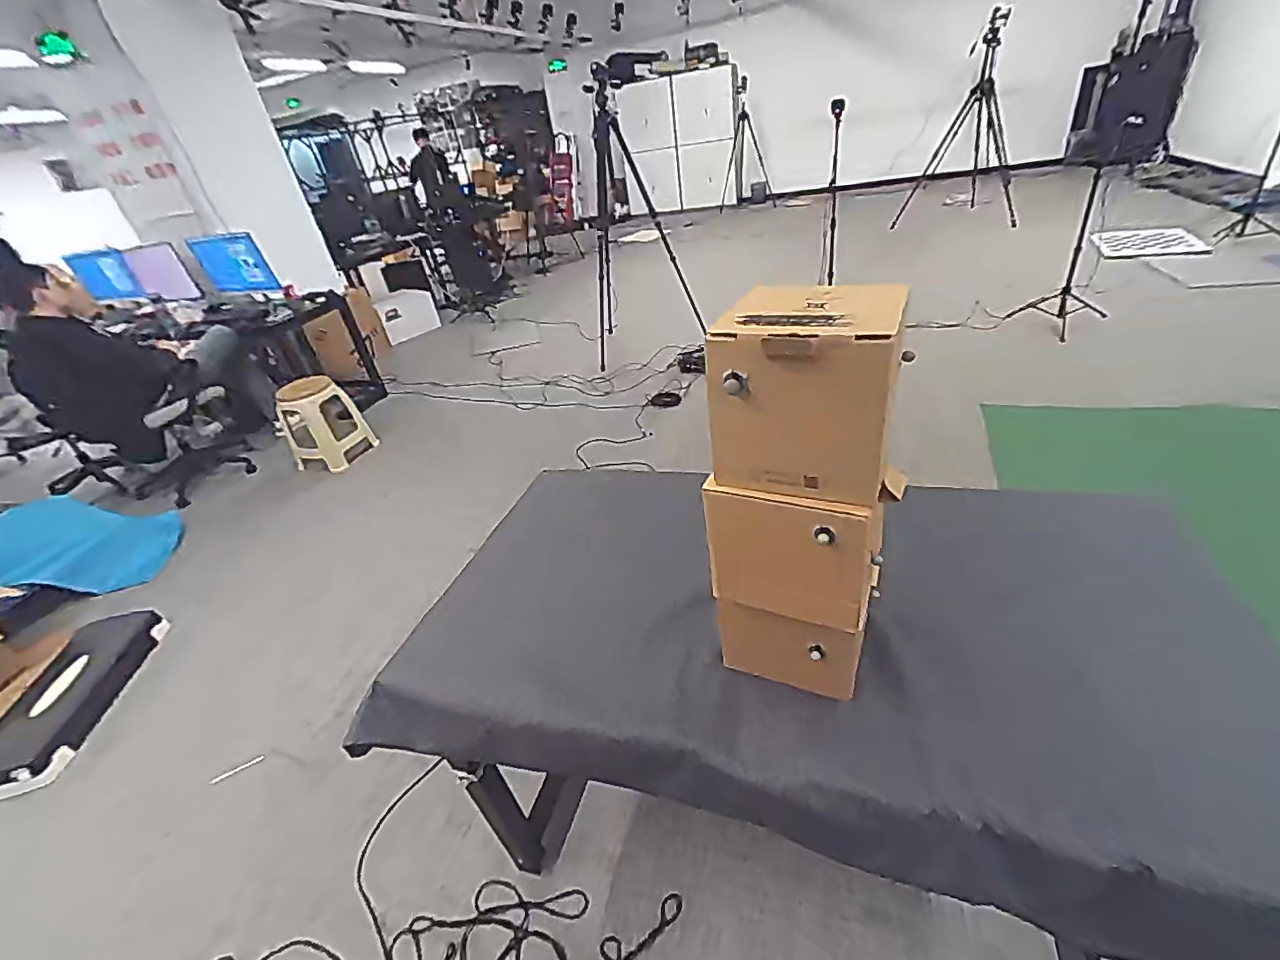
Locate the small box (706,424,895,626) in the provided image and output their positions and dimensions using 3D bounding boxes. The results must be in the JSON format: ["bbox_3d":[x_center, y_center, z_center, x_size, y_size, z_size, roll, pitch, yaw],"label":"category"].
[{"bbox_3d":[0.194,0.049,0.652,0.179,0.176,0.168,10,37,27],"label":"small box"}]

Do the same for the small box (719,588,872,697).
[{"bbox_3d":[0.224,0.172,0.756,0.179,0.176,0.168,7,36,27],"label":"small box"}]
